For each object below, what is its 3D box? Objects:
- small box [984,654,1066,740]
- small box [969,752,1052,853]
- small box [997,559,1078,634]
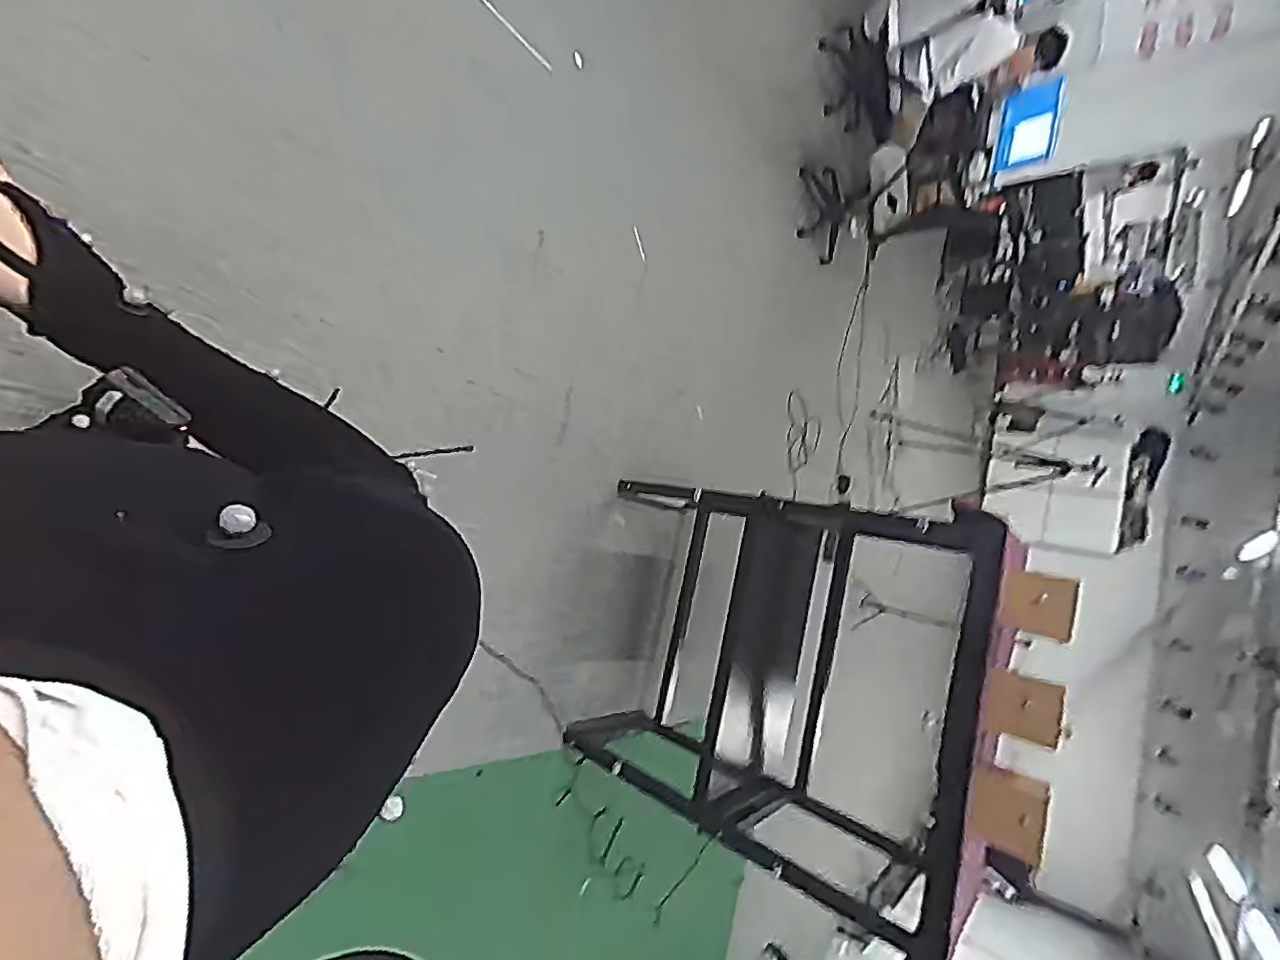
[{"bbox_3d":[1.080,0.604,1.519,0.168,0.176,0.179,24,77,-49],"label":"small box"},{"bbox_3d":[1.018,0.871,1.487,0.168,0.176,0.179,19,81,-50],"label":"small box"},{"bbox_3d":[1.133,0.329,1.542,0.168,0.176,0.179,21,79,-48],"label":"small box"}]
